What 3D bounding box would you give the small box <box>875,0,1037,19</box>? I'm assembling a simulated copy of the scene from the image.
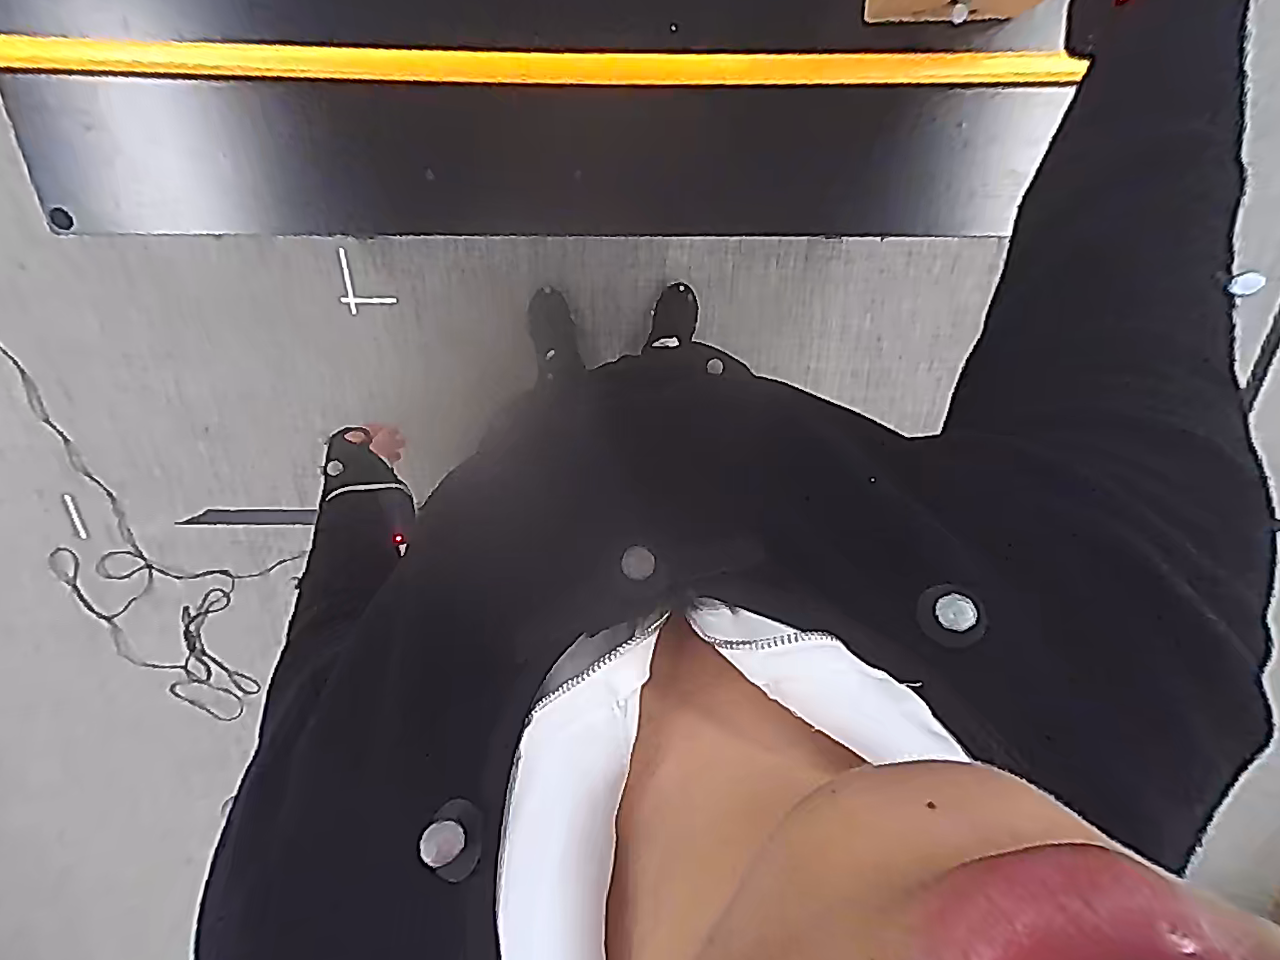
[{"bbox_3d":[0.321,-0.539,0.464,0.168,0.176,0.179,-2,113,-1],"label":"small box"}]
